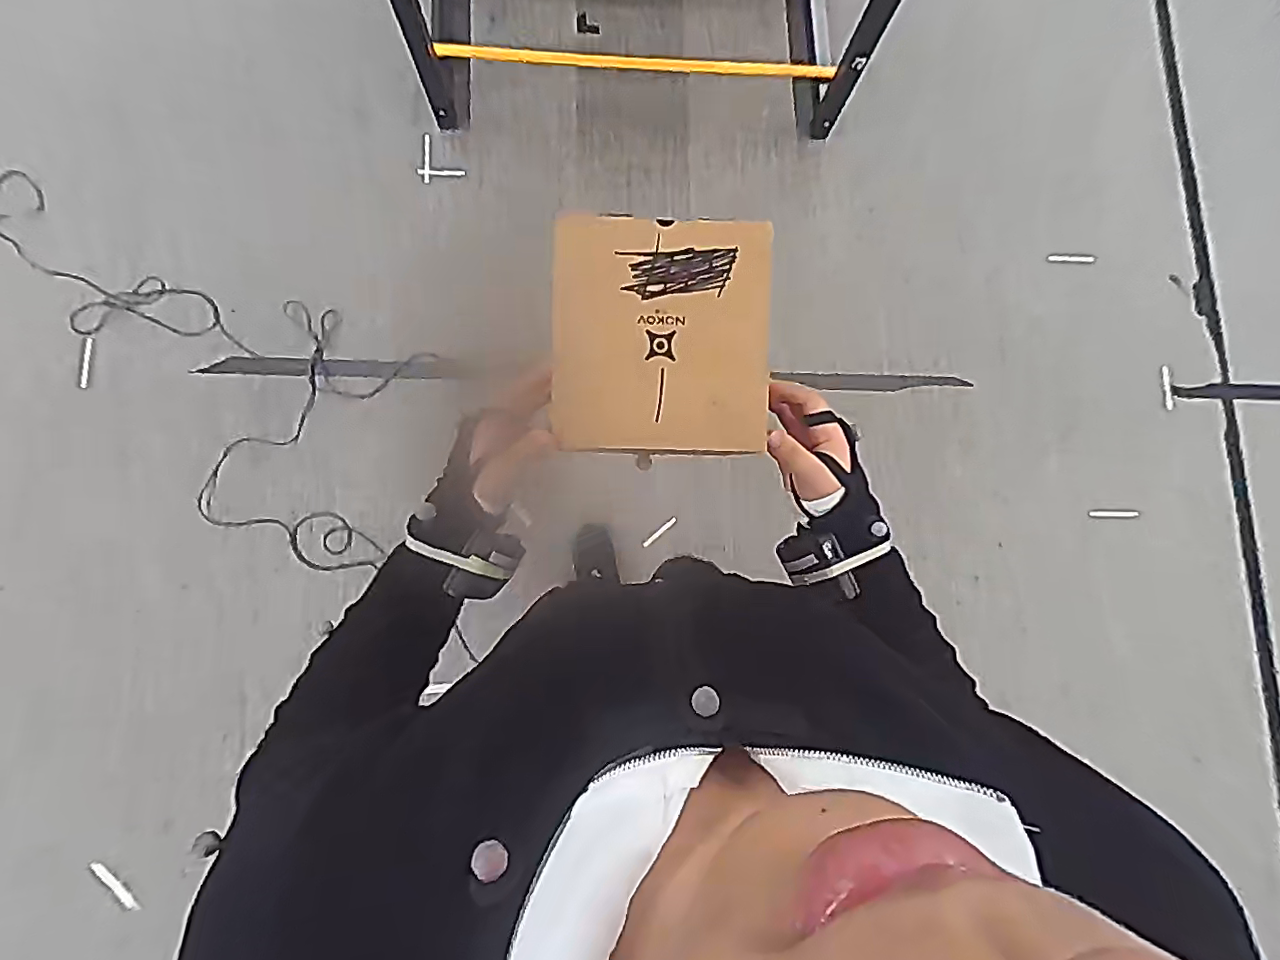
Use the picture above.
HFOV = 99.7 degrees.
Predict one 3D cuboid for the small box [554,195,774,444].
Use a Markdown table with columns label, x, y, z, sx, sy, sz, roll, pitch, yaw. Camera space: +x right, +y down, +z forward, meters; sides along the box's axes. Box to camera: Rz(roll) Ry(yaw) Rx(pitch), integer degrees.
| label | x | y | z | sx | sy | sz | roll | pitch | yaw |
| --- | --- | --- | --- | --- | --- | --- | --- | --- | --- |
| small box | 0.015 | -0.126 | 0.488 | 0.168 | 0.176 | 0.179 | 1 | 92 | -2 |
